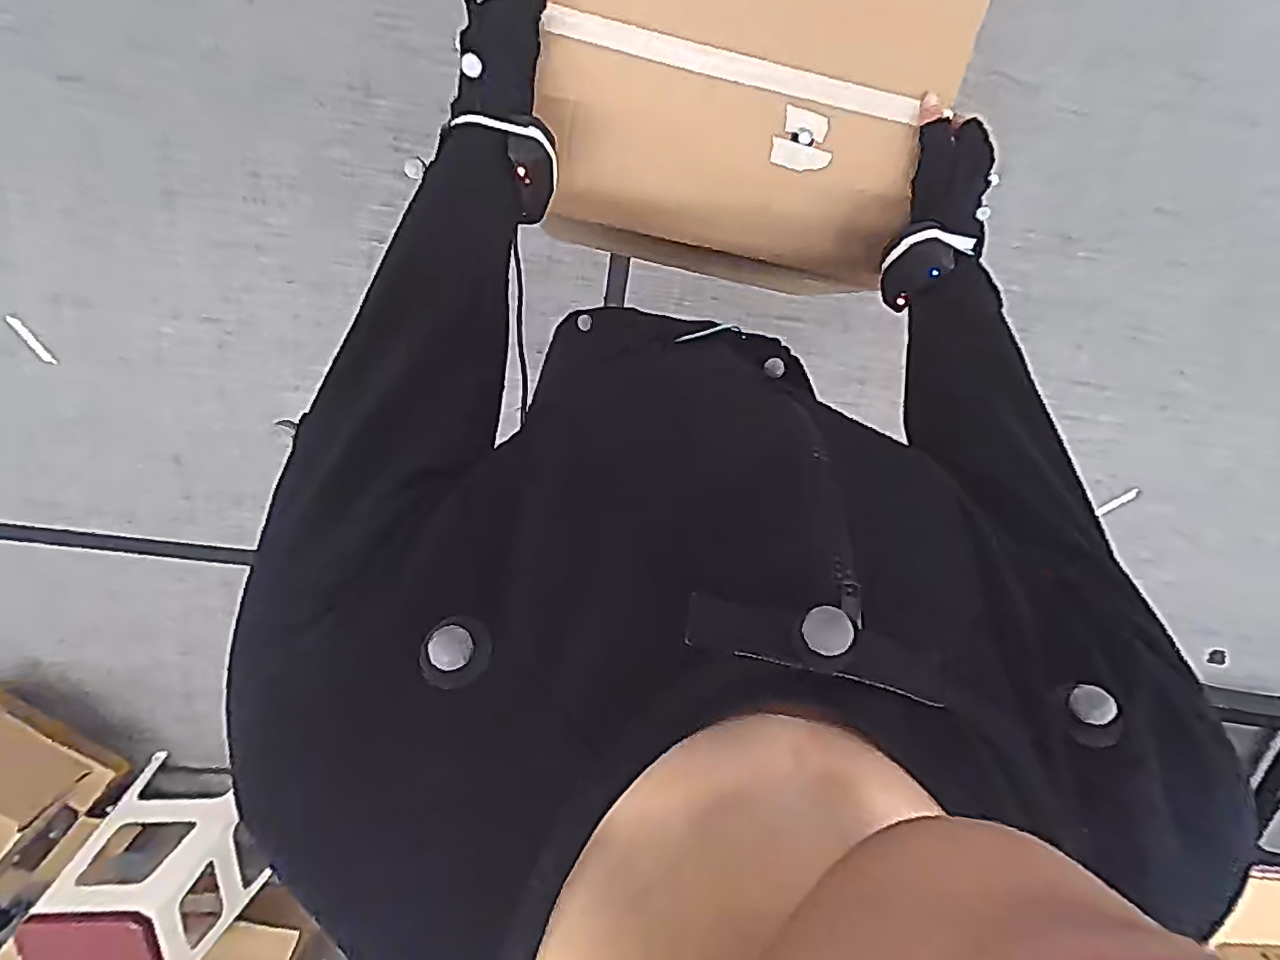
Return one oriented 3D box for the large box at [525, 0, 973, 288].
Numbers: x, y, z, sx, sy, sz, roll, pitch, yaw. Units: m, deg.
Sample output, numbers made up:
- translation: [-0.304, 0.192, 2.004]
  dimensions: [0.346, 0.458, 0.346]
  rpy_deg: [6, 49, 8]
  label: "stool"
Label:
- translation: [0.093, -0.435, 0.665]
  dimensions: [0.408, 0.320, 0.320]
  rpy_deg: [10, 109, -7]
  label: "large box"
